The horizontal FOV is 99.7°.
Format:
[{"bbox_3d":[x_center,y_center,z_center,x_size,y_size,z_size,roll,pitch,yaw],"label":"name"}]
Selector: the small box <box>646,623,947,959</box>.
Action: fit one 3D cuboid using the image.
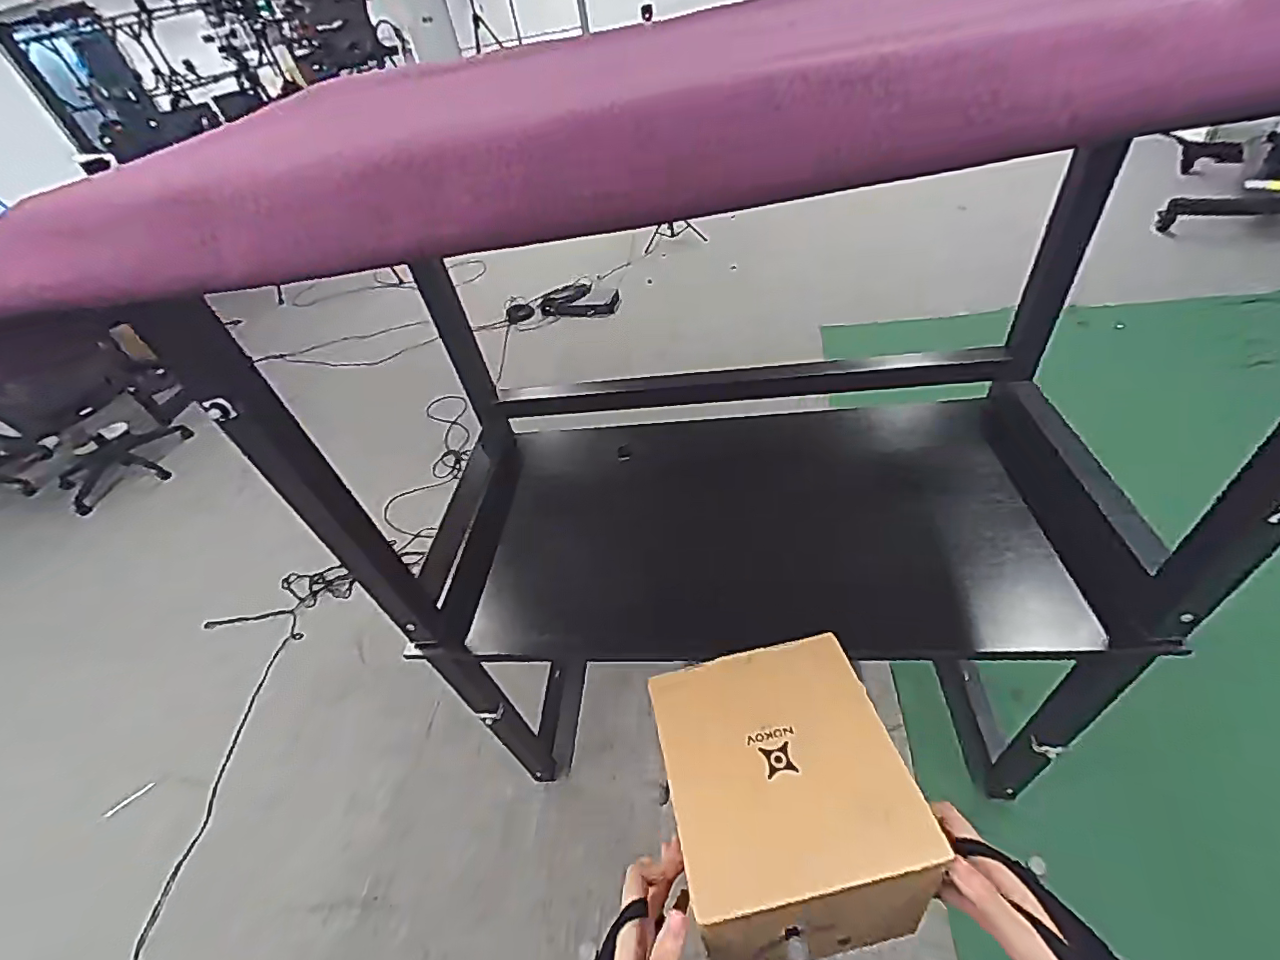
[{"bbox_3d":[0.111,0.252,0.439,0.168,0.176,0.179,-13,37,-2],"label":"small box"}]
